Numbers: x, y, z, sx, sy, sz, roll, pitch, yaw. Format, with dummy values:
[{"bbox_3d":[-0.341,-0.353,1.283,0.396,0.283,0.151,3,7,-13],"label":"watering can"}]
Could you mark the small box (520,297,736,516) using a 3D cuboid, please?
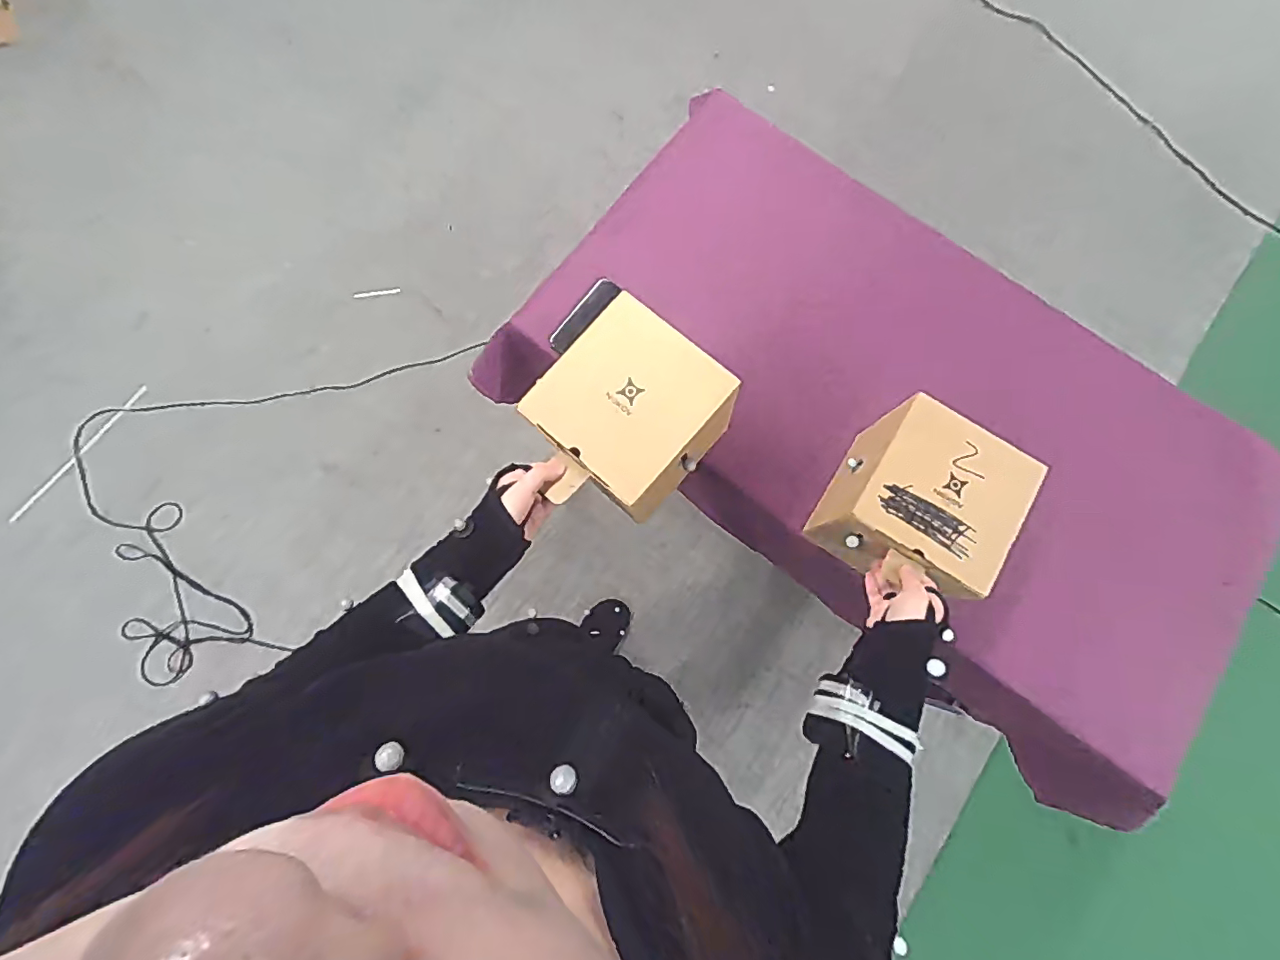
[{"bbox_3d":[-0.009,-0.075,0.650,0.168,0.176,0.179,40,87,10],"label":"small box"}]
